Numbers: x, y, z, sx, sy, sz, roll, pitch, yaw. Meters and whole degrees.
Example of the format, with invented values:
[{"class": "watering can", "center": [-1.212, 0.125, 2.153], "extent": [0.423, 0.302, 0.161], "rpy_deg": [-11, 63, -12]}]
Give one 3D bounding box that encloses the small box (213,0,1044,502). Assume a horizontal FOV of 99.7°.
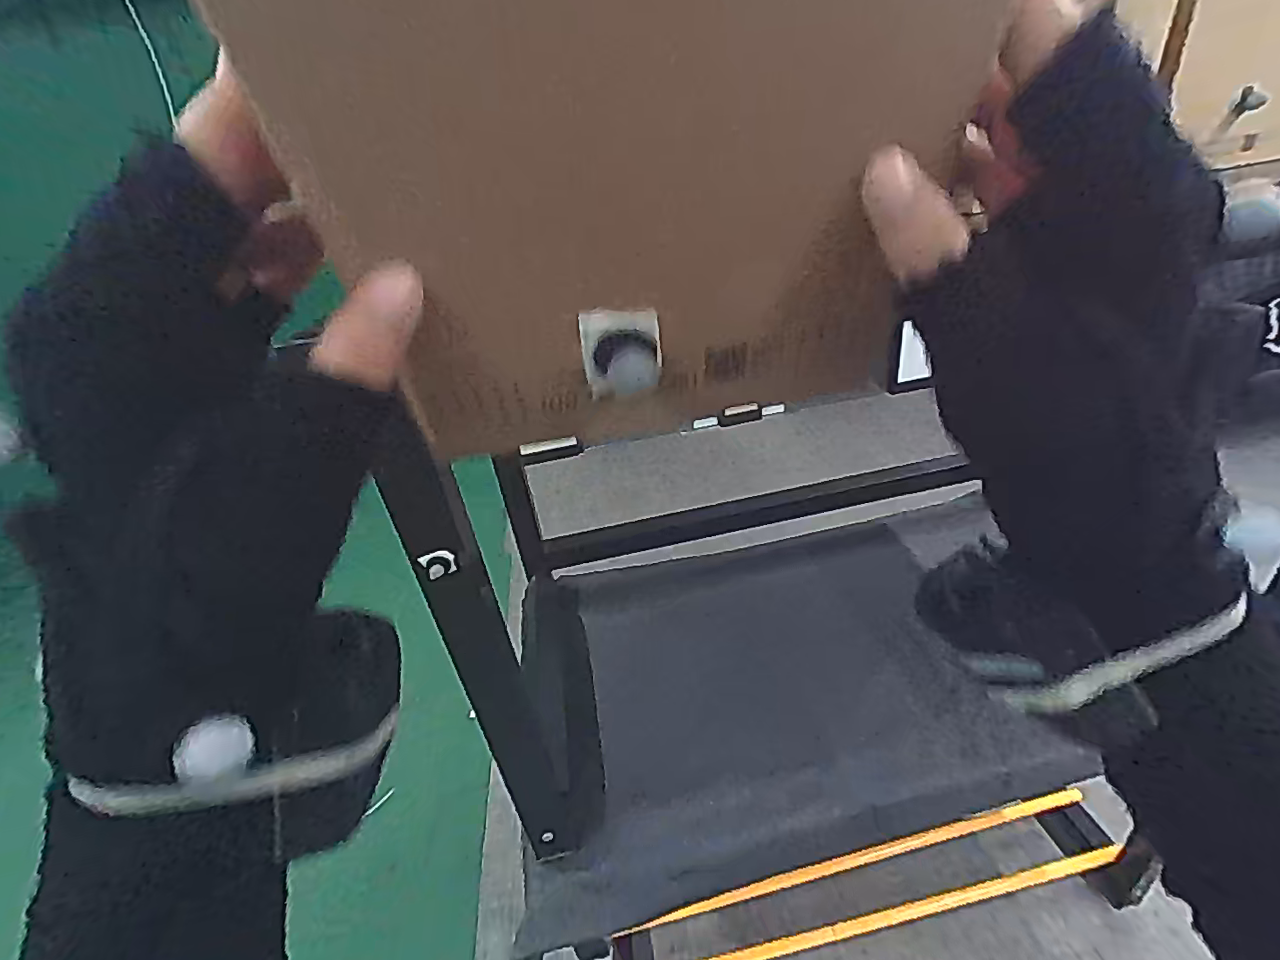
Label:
[{"class": "small box", "center": [-0.010, -0.119, 0.197], "extent": [0.168, 0.176, 0.179], "rpy_deg": [-12, 53, -5]}]
